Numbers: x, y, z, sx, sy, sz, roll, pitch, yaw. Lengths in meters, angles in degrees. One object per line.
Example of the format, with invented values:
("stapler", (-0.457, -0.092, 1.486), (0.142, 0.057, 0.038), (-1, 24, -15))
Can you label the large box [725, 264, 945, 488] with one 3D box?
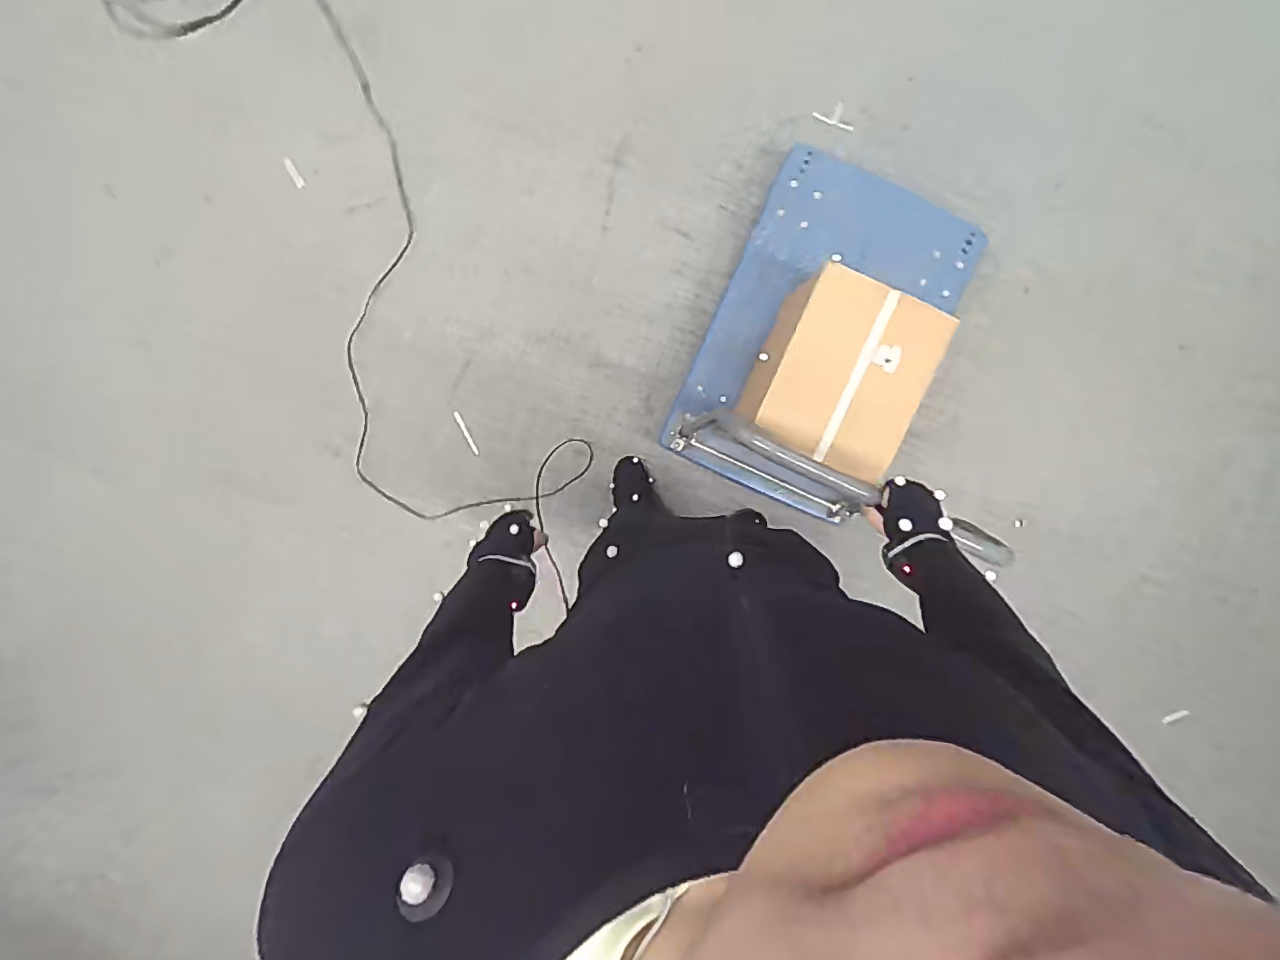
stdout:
("large box", (0.439, -0.227, 1.310), (0.320, 0.320, 0.408), (23, 93, -3))
